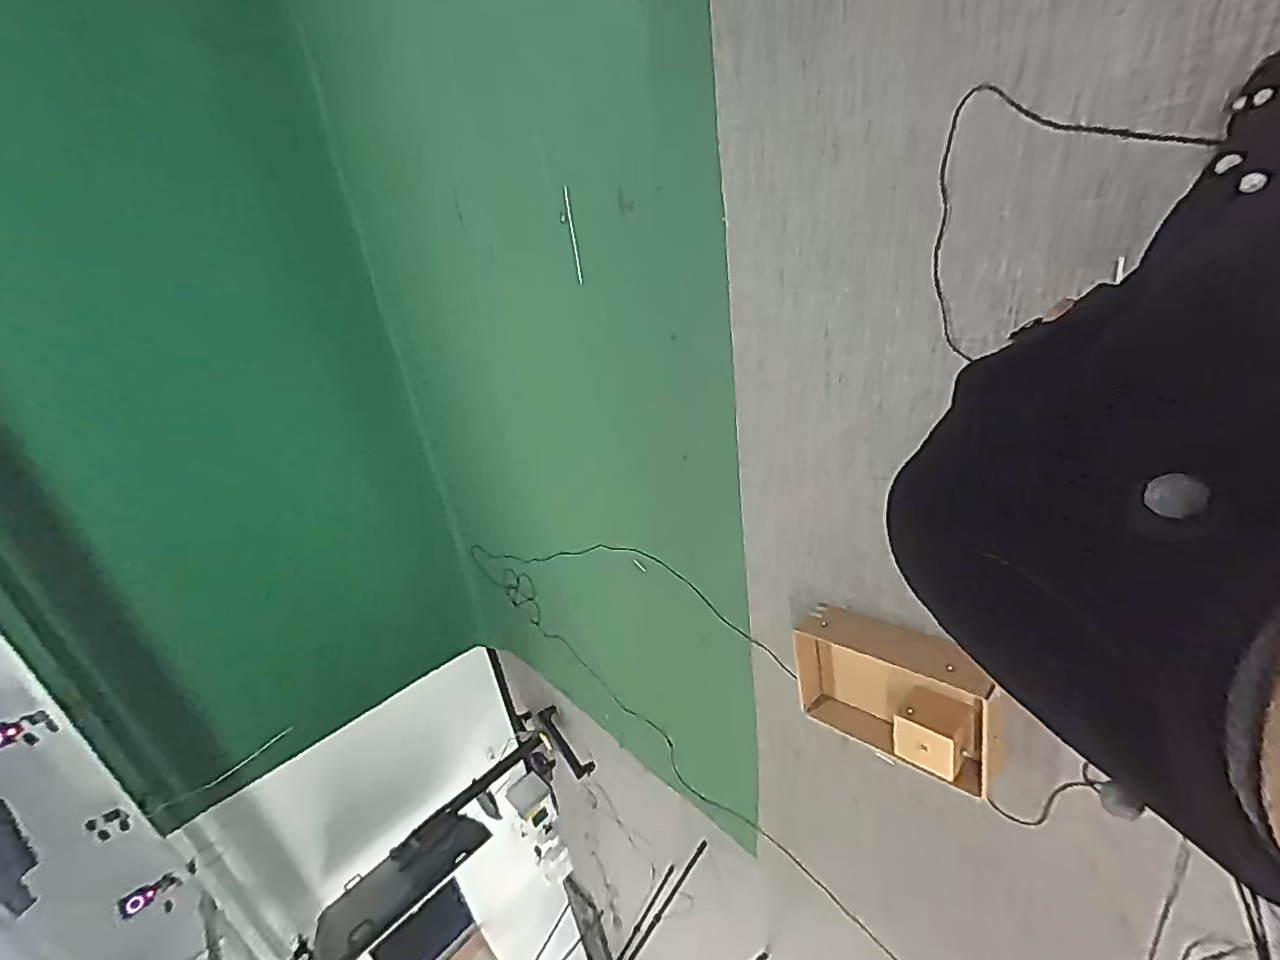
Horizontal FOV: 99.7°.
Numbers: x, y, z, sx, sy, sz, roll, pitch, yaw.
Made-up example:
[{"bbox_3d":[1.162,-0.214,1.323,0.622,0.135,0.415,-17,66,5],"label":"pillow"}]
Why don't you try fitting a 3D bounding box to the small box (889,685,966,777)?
[{"bbox_3d":[0.917,0.787,1.721,0.179,0.176,0.168,11,119,47],"label":"small box"}]
